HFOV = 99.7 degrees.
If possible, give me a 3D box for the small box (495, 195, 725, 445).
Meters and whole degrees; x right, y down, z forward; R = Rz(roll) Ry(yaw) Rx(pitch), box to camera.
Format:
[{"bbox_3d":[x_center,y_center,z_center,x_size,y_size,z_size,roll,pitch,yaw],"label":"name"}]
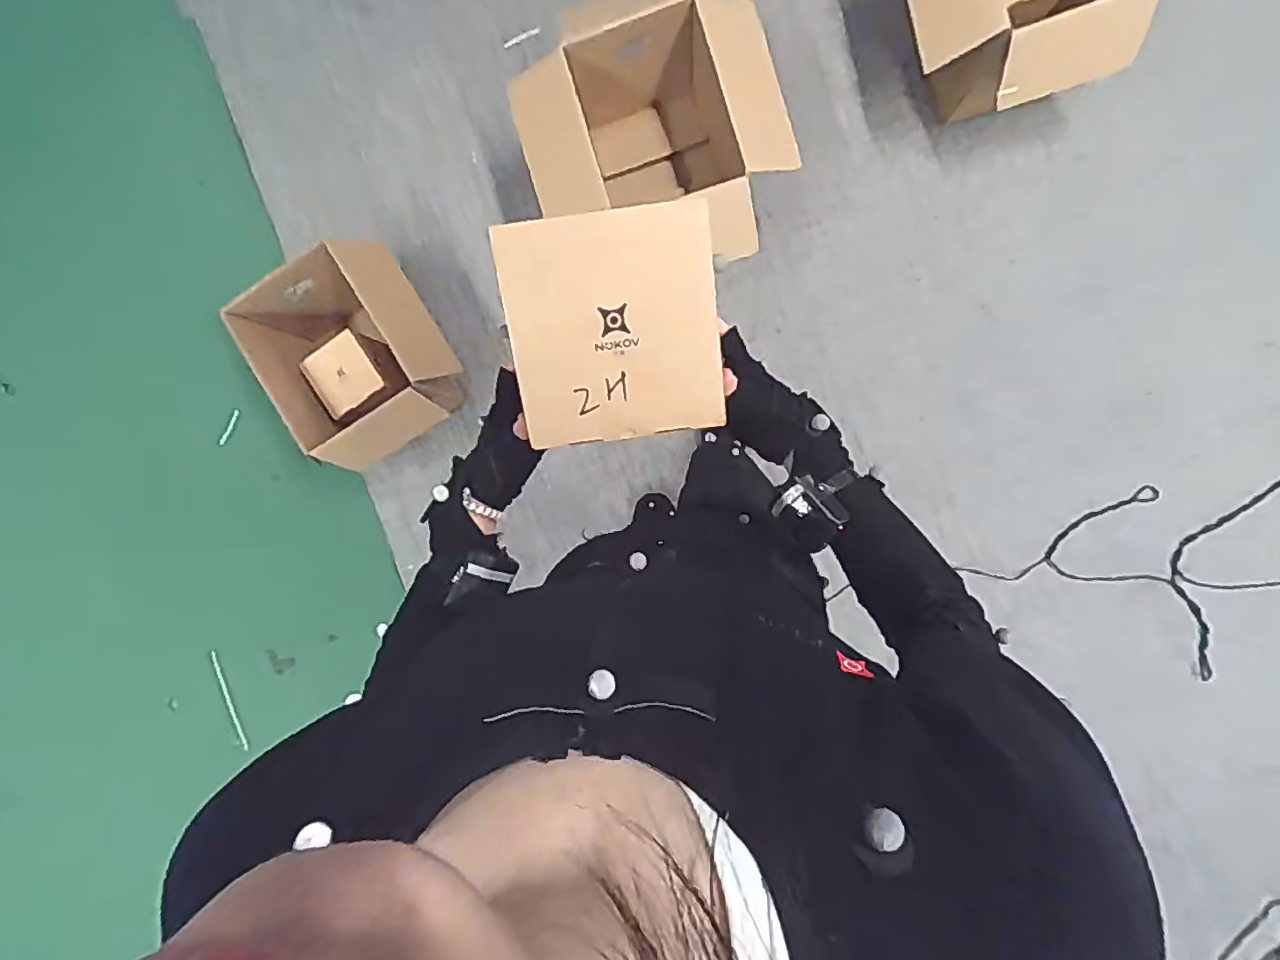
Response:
[{"bbox_3d":[-0.022,-0.144,0.502,0.168,0.176,0.179,-7,108,1],"label":"small box"}]
